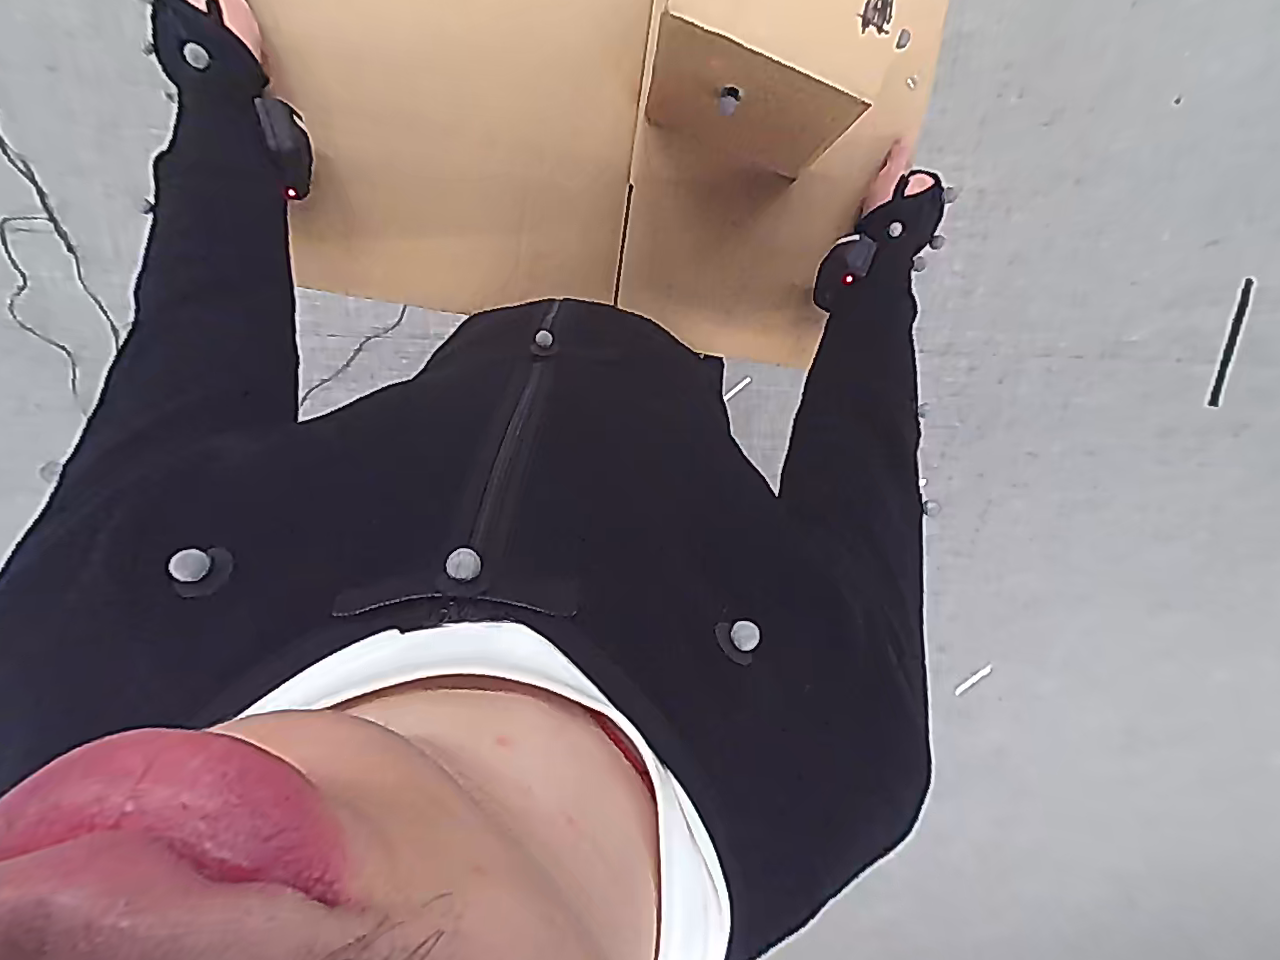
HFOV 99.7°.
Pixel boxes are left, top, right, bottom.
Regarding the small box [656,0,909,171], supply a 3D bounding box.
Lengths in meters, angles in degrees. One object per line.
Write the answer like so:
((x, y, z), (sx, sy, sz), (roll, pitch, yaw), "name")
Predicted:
((0.121, -0.410, 0.480), (0.179, 0.176, 0.168), (18, 100, -7), "small box")
